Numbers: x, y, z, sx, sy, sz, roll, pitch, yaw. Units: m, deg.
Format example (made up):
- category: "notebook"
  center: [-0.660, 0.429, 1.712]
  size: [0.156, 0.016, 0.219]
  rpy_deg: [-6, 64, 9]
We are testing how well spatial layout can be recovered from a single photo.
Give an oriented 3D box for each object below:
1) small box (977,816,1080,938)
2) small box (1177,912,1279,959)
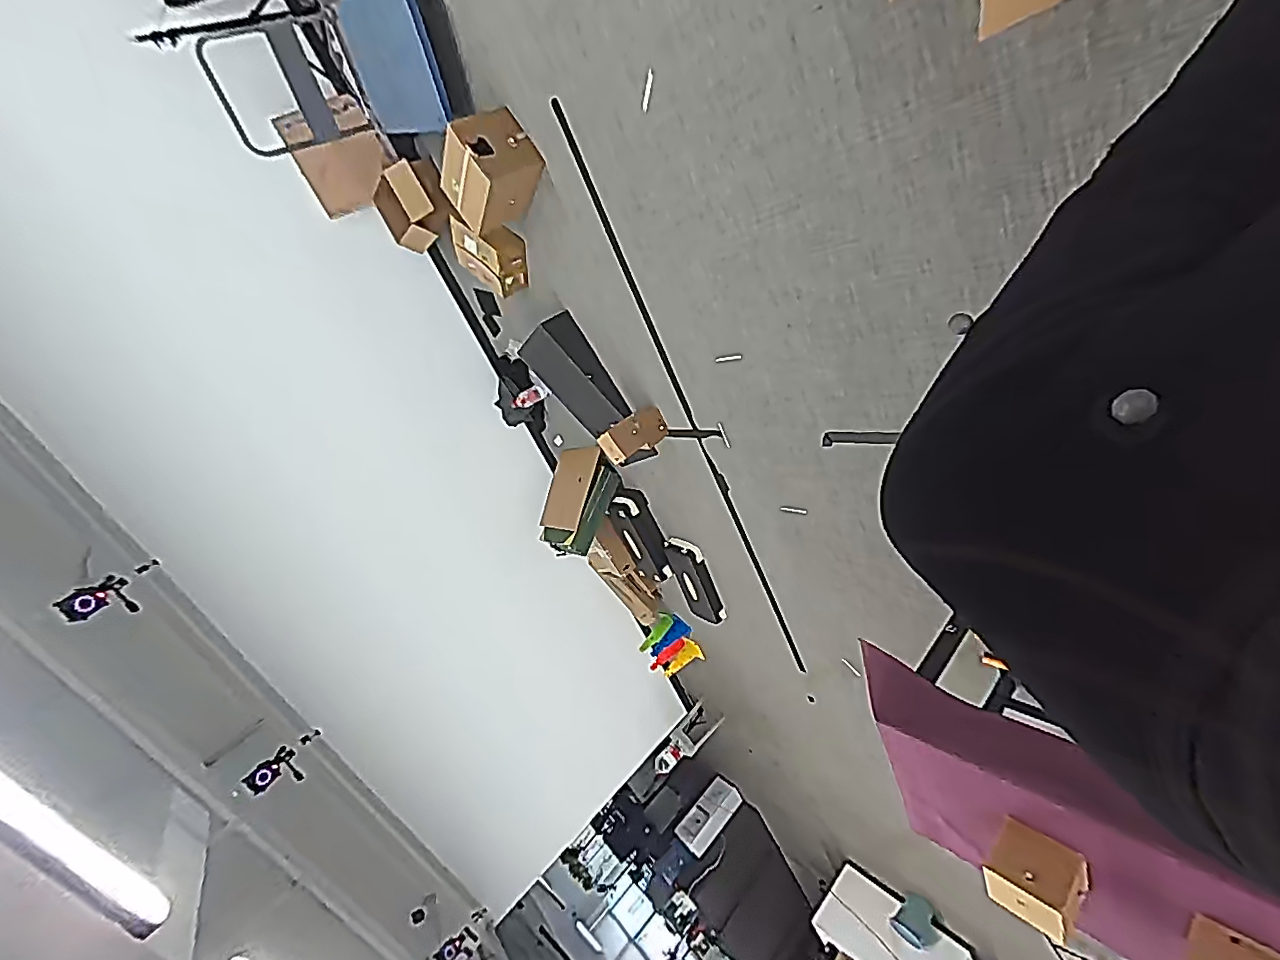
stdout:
- category: "small box"
  center: [1.032, 1.038, 1.435]
  size: [0.179, 0.176, 0.168]
  rpy_deg: [11, 132, 52]
- category: "small box"
  center: [1.246, 1.067, 1.129]
  size: [0.168, 0.176, 0.179]
  rpy_deg: [7, 129, 55]
